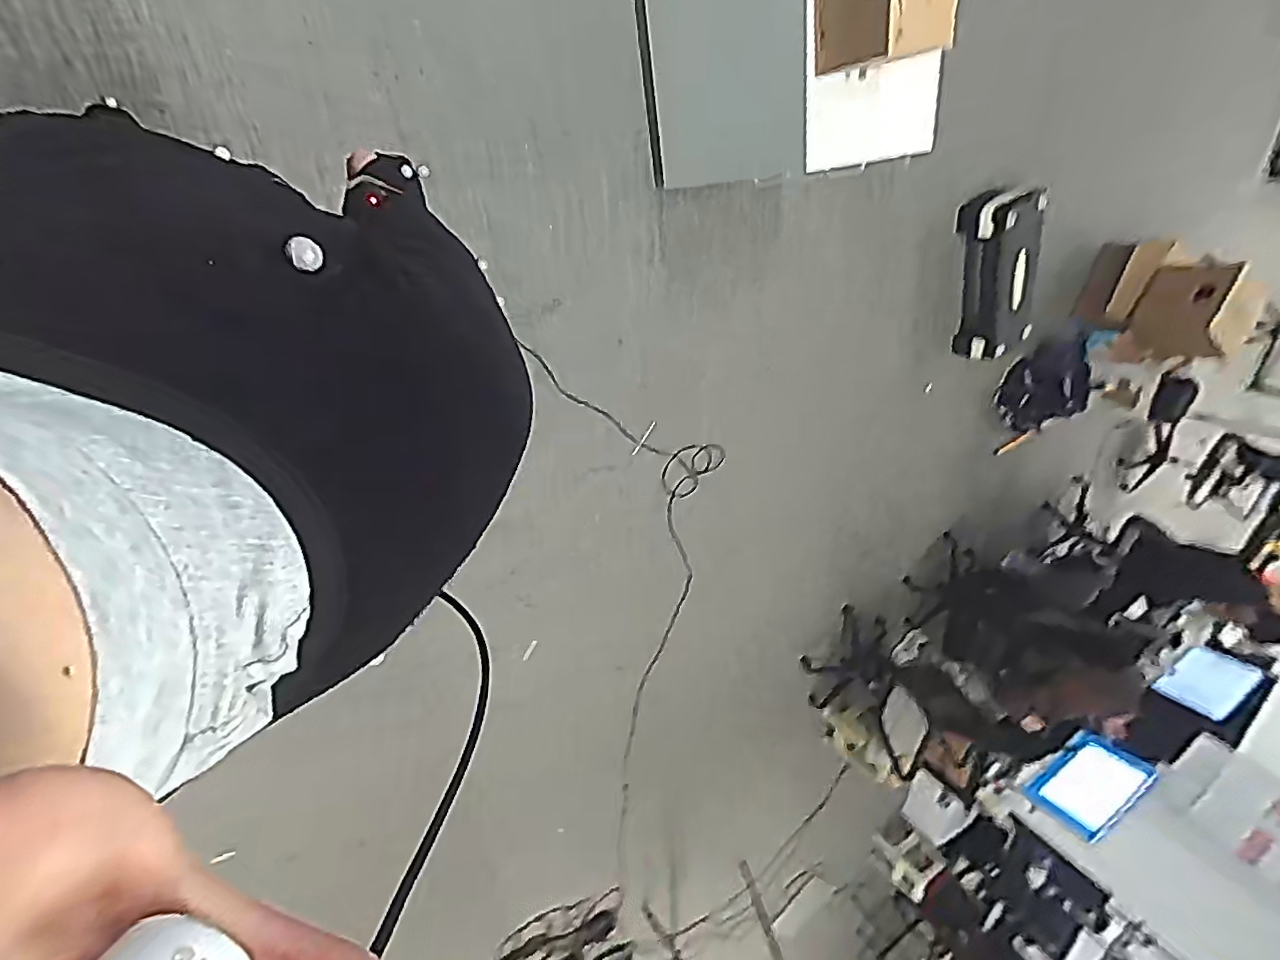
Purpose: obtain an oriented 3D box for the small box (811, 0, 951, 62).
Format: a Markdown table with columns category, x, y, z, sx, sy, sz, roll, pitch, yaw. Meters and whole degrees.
| category | x | y | z | sx | sy | sz | roll | pitch | yaw |
| --- | --- | --- | --- | --- | --- | --- | --- | --- | --- |
| small box | 0.428 | -0.874 | 0.964 | 0.179 | 0.176 | 0.168 | -27 | 122 | -22 |
